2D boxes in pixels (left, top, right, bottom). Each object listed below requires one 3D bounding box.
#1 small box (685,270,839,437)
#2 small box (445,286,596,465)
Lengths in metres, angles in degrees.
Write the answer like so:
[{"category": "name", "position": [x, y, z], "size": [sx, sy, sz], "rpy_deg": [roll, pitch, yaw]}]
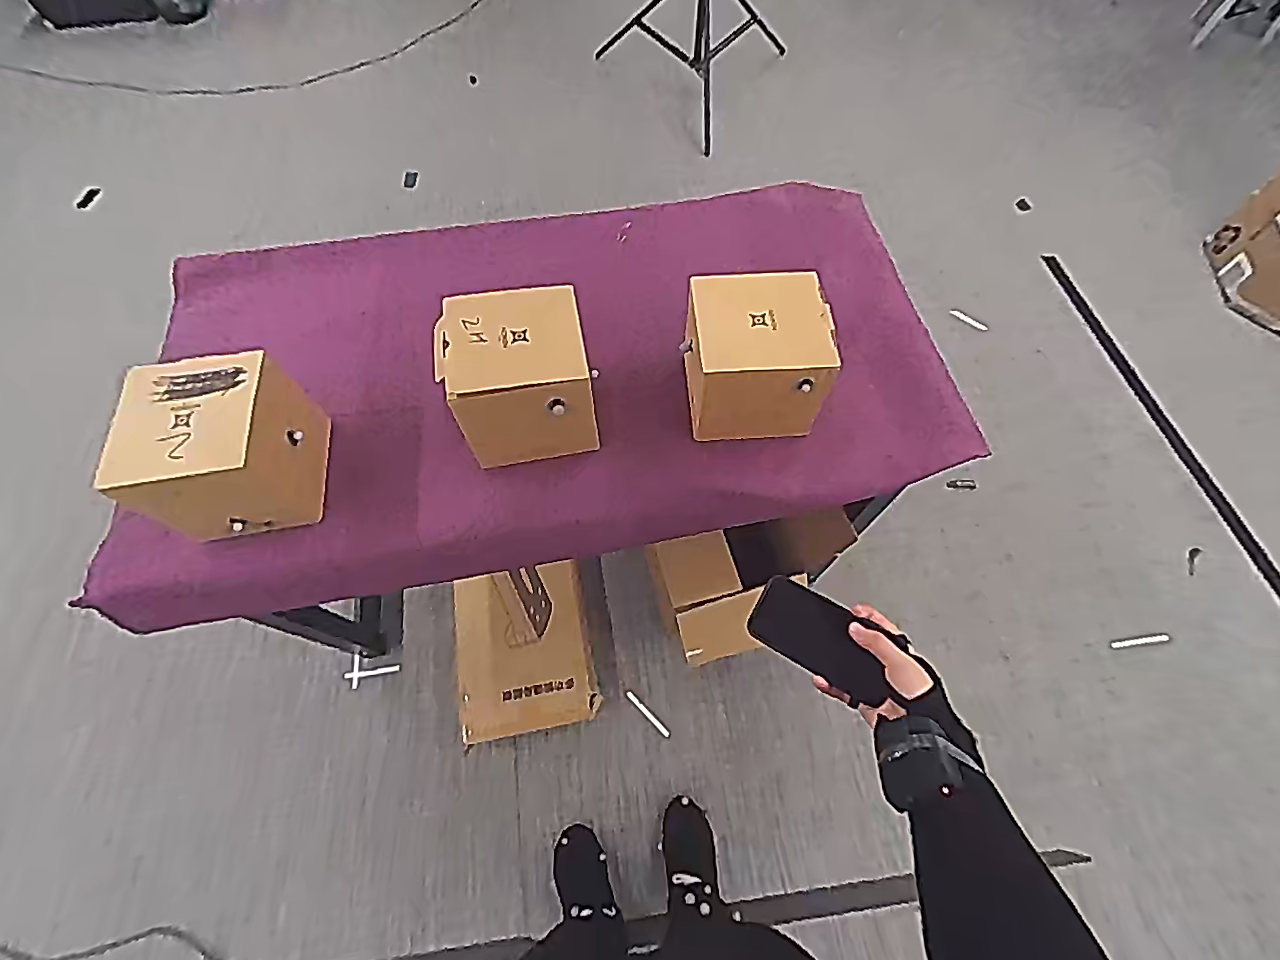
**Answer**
[{"category": "small box", "position": [0.158, -0.173, 0.771], "size": [0.179, 0.176, 0.168], "rpy_deg": [-3, 63, -1]}, {"category": "small box", "position": [-0.159, -0.140, 0.757], "size": [0.179, 0.176, 0.168], "rpy_deg": [-10, 61, -4]}]
